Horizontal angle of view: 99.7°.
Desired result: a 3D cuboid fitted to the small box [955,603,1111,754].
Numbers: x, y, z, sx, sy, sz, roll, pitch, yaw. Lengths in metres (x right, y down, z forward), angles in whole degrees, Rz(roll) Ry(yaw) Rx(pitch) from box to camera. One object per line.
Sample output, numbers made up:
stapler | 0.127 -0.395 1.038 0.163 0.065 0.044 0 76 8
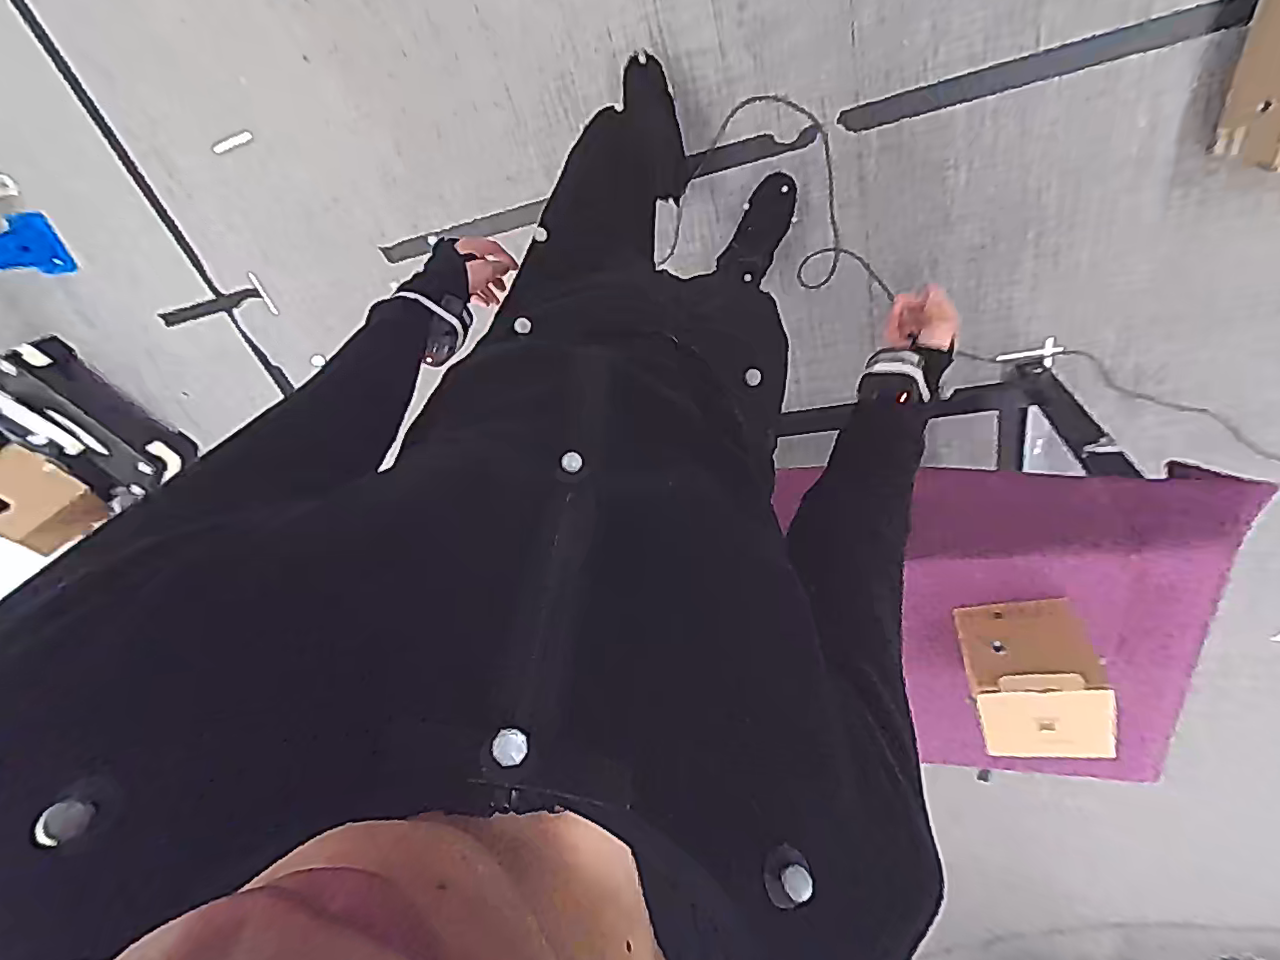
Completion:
small box | 0.626 0.315 0.875 0.168 0.176 0.179 -12 121 26
